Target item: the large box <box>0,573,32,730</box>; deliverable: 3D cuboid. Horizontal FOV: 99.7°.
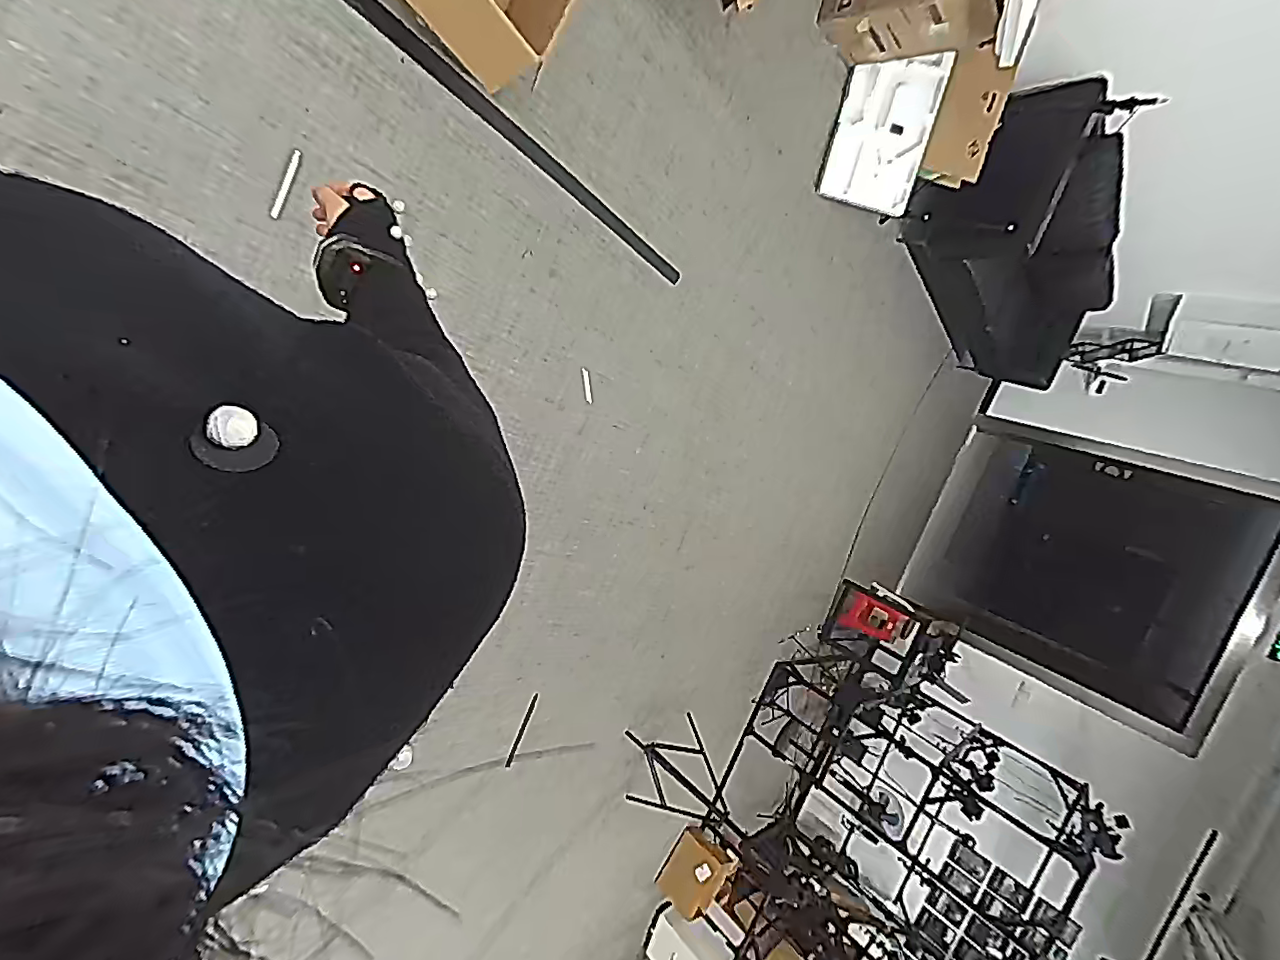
[{"bbox_3d":[-1.177,0.317,0.742,0.408,0.320,0.320,20,94,-49],"label":"large box"}]
